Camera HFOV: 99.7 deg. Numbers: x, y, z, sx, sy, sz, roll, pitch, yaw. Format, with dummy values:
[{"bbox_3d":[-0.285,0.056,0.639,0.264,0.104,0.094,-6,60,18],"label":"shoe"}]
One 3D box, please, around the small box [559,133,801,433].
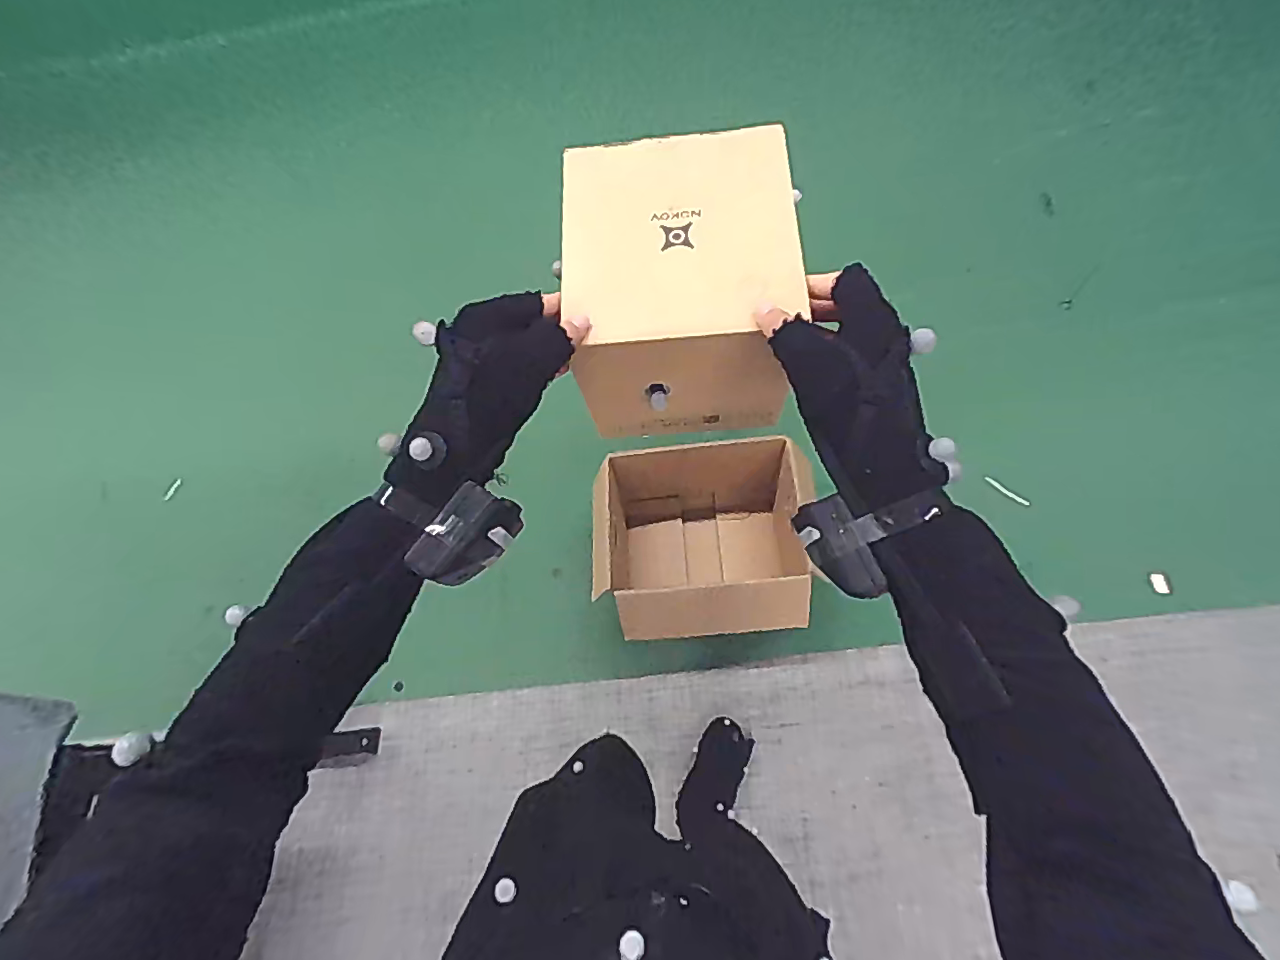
[{"bbox_3d":[0.033,-0.147,0.460,0.168,0.176,0.179,-4,71,5],"label":"small box"}]
